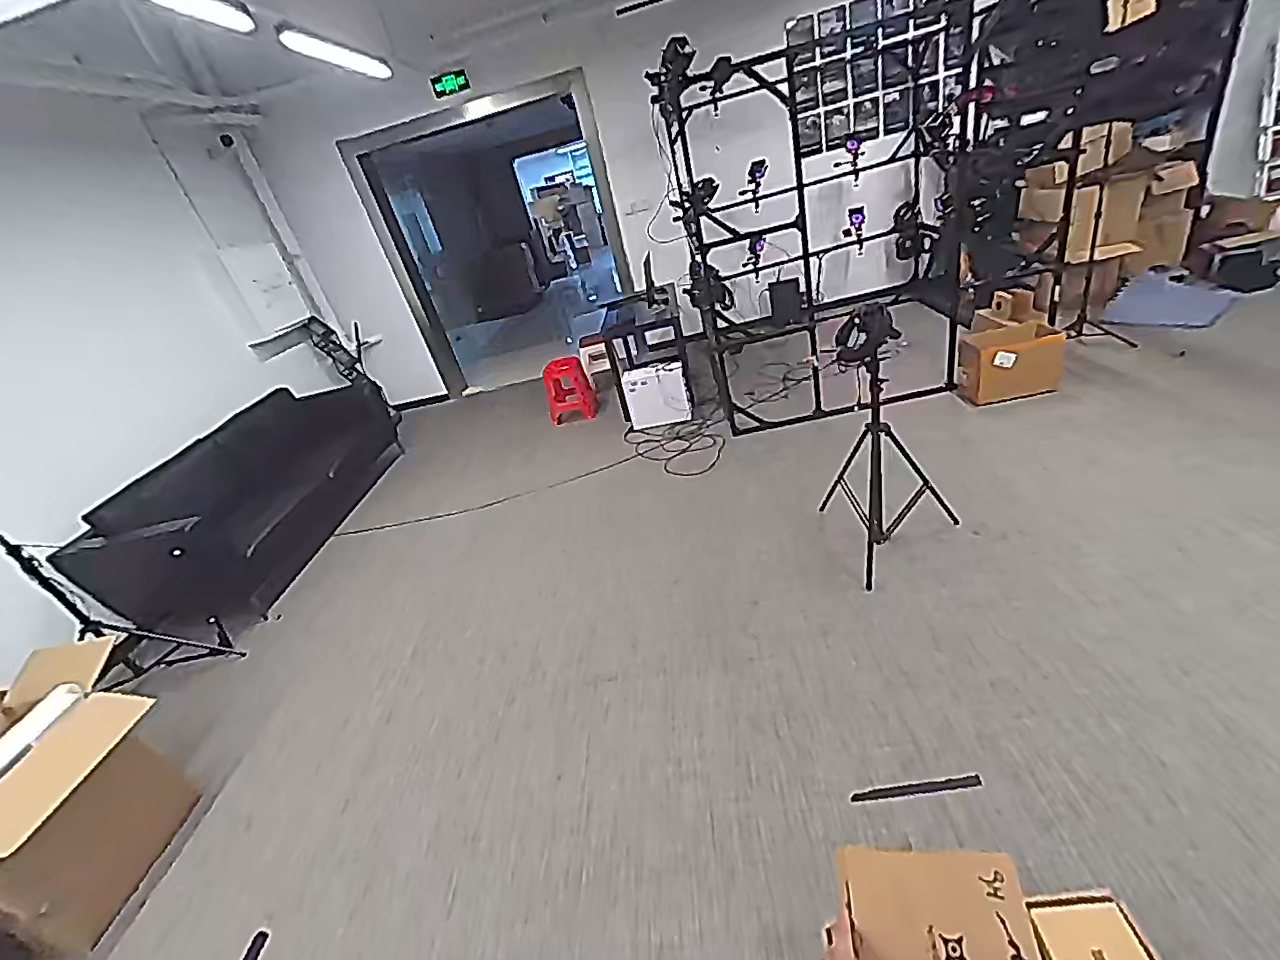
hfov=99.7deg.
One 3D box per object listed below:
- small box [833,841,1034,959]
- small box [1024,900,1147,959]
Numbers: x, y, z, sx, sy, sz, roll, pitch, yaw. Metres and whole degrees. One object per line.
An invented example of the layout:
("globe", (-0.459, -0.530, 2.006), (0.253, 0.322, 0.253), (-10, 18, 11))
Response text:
("small box", (0.319, 0.516, 0.609), (0.179, 0.176, 0.168), (-6, 53, 13))
("small box", (0.890, 0.977, 1.071), (0.168, 0.176, 0.179), (-13, 32, 8))
